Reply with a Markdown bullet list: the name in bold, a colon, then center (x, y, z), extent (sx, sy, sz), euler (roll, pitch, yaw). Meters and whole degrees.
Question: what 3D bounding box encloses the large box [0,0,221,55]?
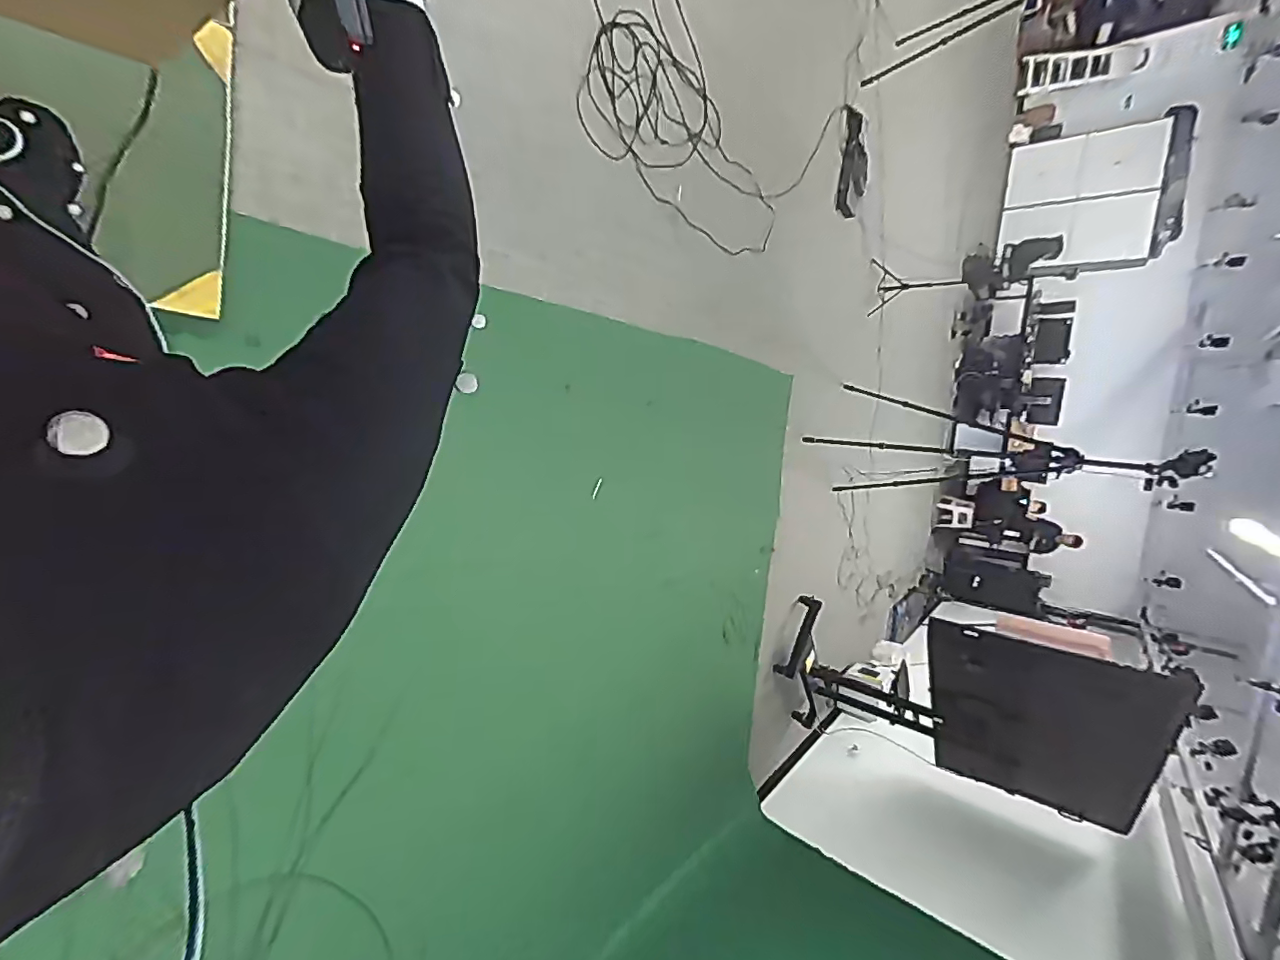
- **large box**: center (-0.465, -0.489, 0.251), extent (0.408, 0.320, 0.320), euler (-13, 115, -50)
